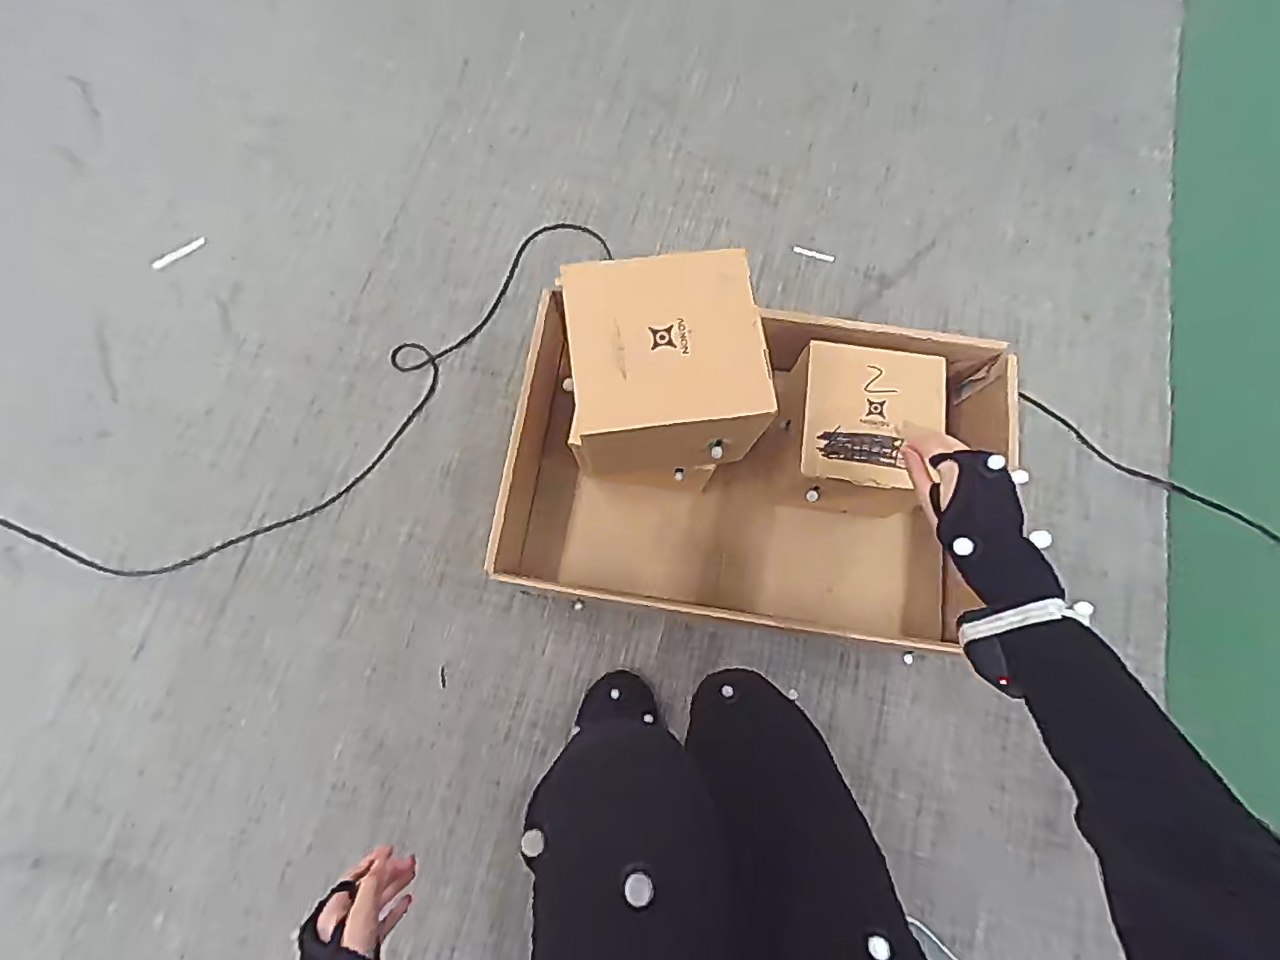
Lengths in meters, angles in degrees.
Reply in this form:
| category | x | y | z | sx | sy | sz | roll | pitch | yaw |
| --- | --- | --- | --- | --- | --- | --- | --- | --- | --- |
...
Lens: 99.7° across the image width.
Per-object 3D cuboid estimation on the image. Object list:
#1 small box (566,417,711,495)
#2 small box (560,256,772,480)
| category | x | y | z | sx | sy | sz | roll | pitch | yaw |
| --- | --- | --- | --- | --- | --- | --- | --- | --- | --- |
| small box | 0.011 | -0.083 | 0.720 | 0.179 | 0.176 | 0.168 | 10 | 77 | 1 |
| small box | 0.019 | -0.103 | 0.559 | 0.179 | 0.176 | 0.168 | -7 | 77 | -2 |
